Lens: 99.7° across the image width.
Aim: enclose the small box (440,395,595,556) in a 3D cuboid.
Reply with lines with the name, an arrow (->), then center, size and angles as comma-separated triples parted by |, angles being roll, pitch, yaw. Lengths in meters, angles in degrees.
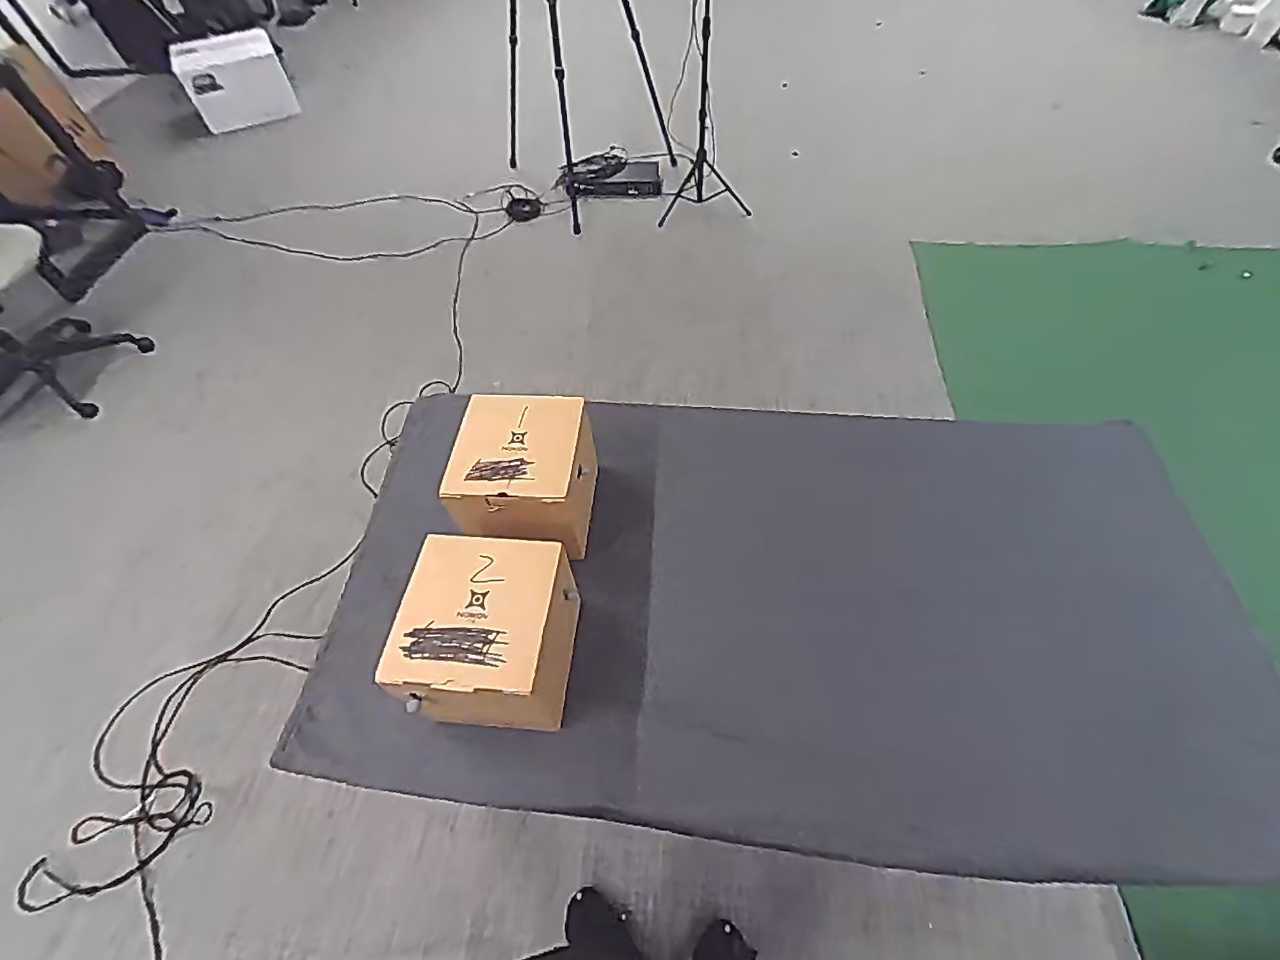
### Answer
small box -> -0.162, -0.002, 0.788 | 0.168, 0.176, 0.179 | 2, 55, 4
